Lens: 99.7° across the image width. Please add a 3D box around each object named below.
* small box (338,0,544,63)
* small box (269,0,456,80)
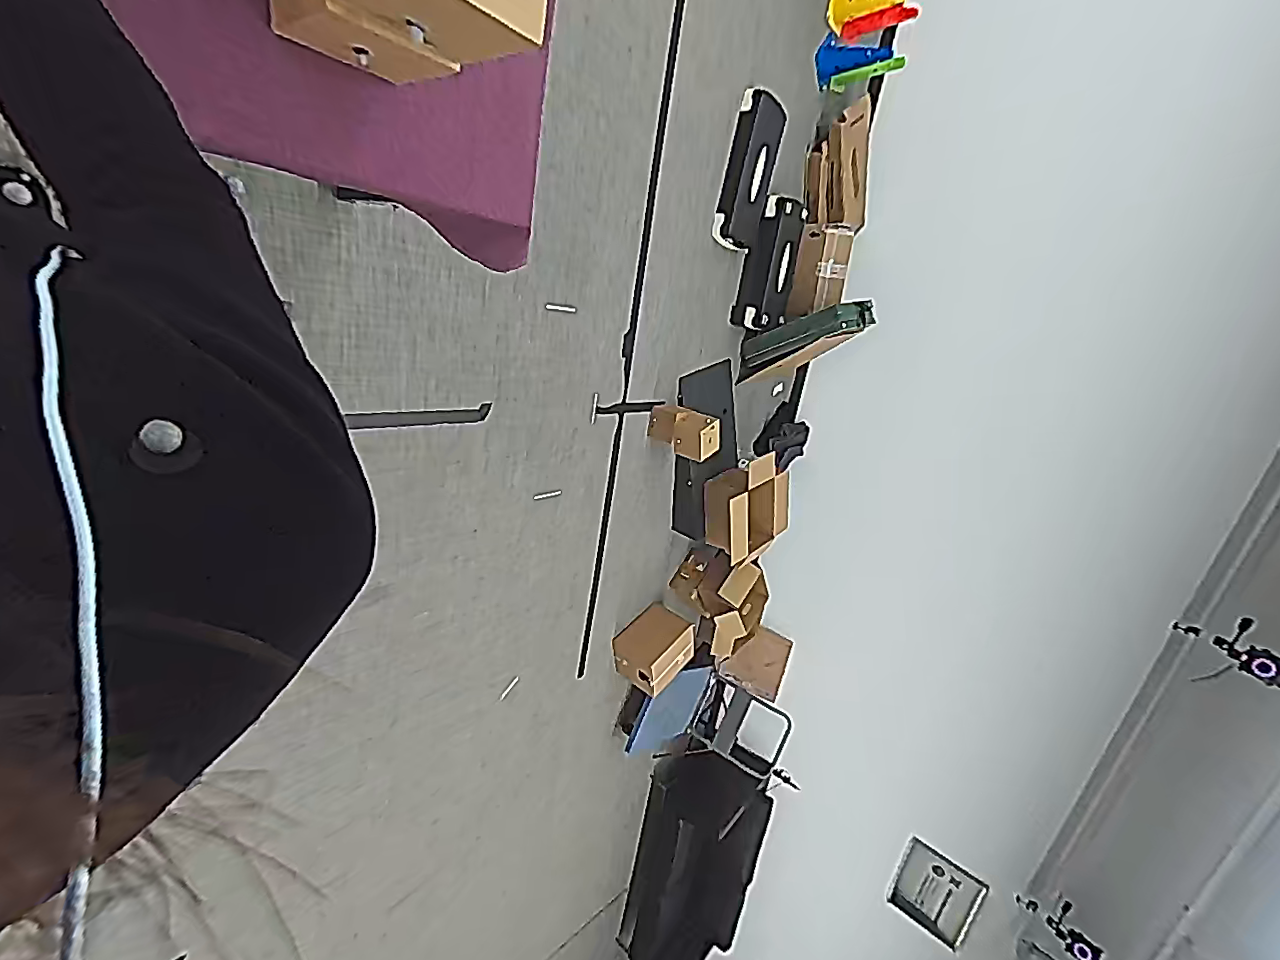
[{"bbox_3d":[-0.215,-0.585,0.574,0.168,0.176,0.179,-12,119,-49],"label":"small box"},{"bbox_3d":[-0.341,-0.629,0.670,0.168,0.176,0.179,-13,119,-50],"label":"small box"}]
